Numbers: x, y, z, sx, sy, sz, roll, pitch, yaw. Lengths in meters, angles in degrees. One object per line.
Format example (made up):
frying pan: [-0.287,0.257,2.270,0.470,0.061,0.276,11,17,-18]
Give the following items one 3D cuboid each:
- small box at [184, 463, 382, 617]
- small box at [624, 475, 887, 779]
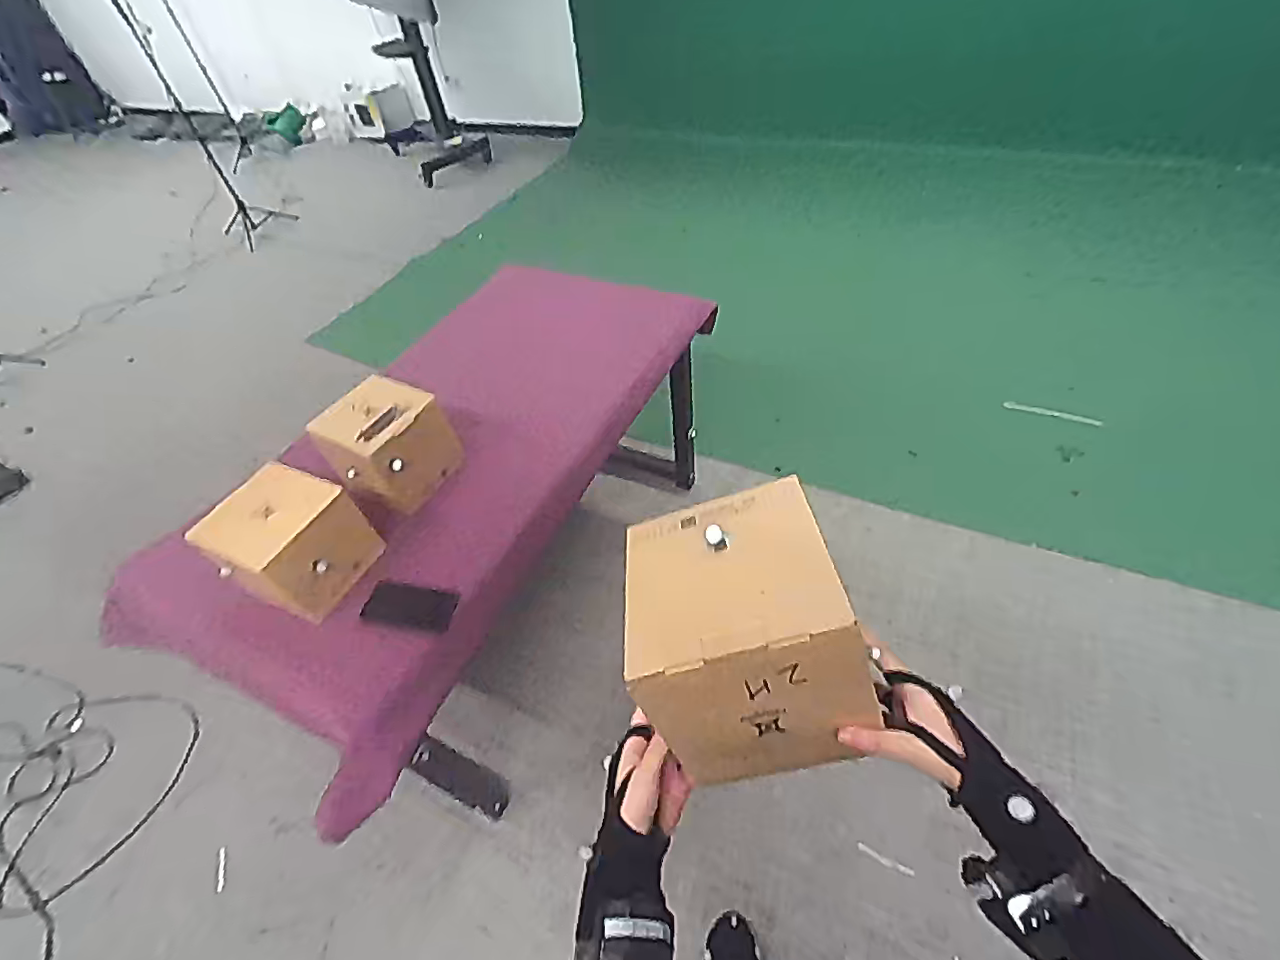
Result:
small box: [-0.570,0.102,0.891,0.179,0.176,0.168,16,53,20]
small box: [0.095,0.126,0.474,0.168,0.179,0.176,-18,32,12]
